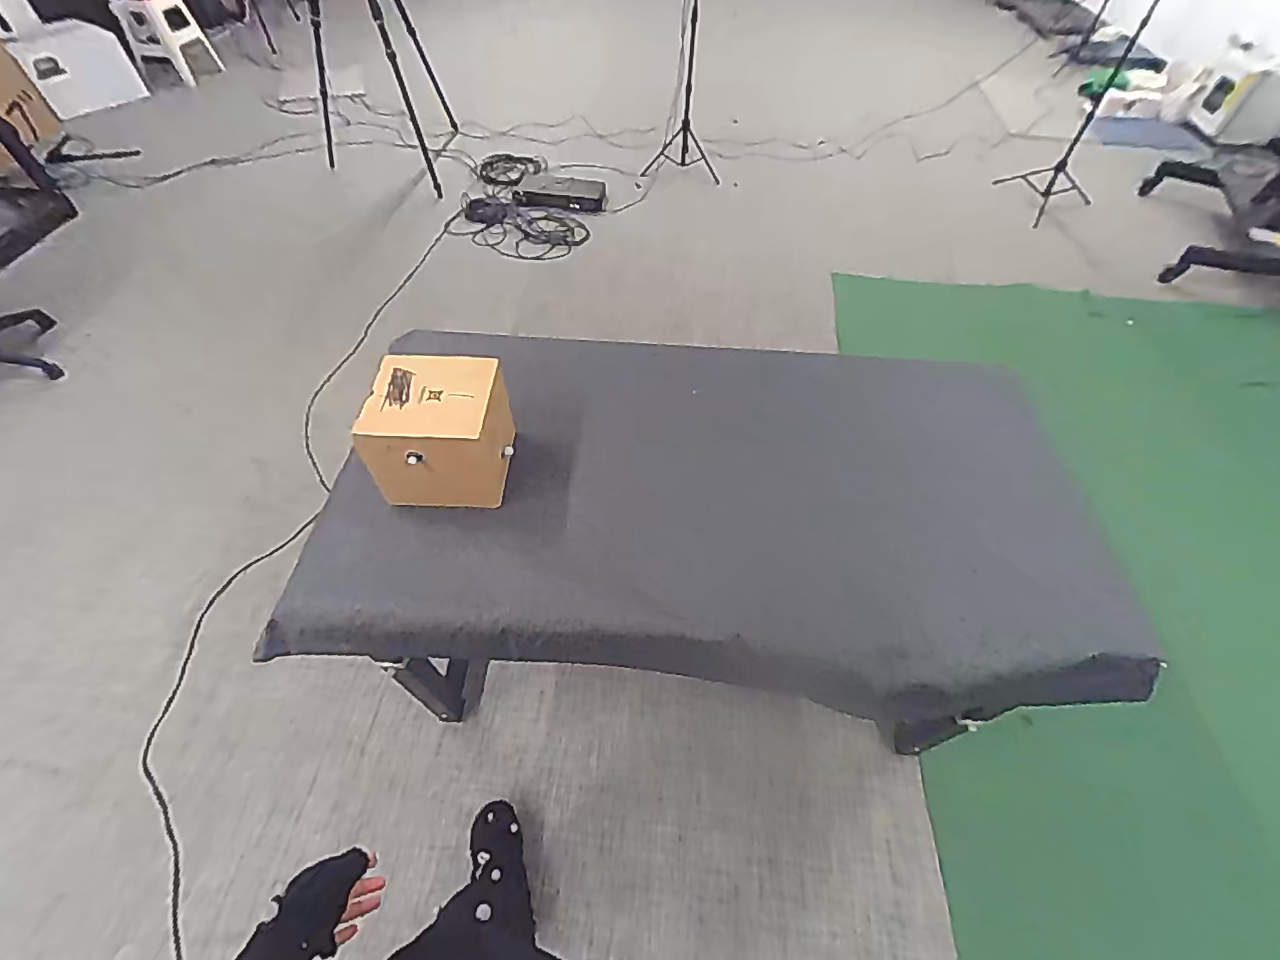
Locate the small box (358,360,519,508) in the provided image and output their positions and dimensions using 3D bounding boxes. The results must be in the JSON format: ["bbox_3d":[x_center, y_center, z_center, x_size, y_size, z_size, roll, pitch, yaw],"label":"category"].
[{"bbox_3d":[-0.299,-0.069,0.847,0.179,0.176,0.168,2,53,-1],"label":"small box"}]
